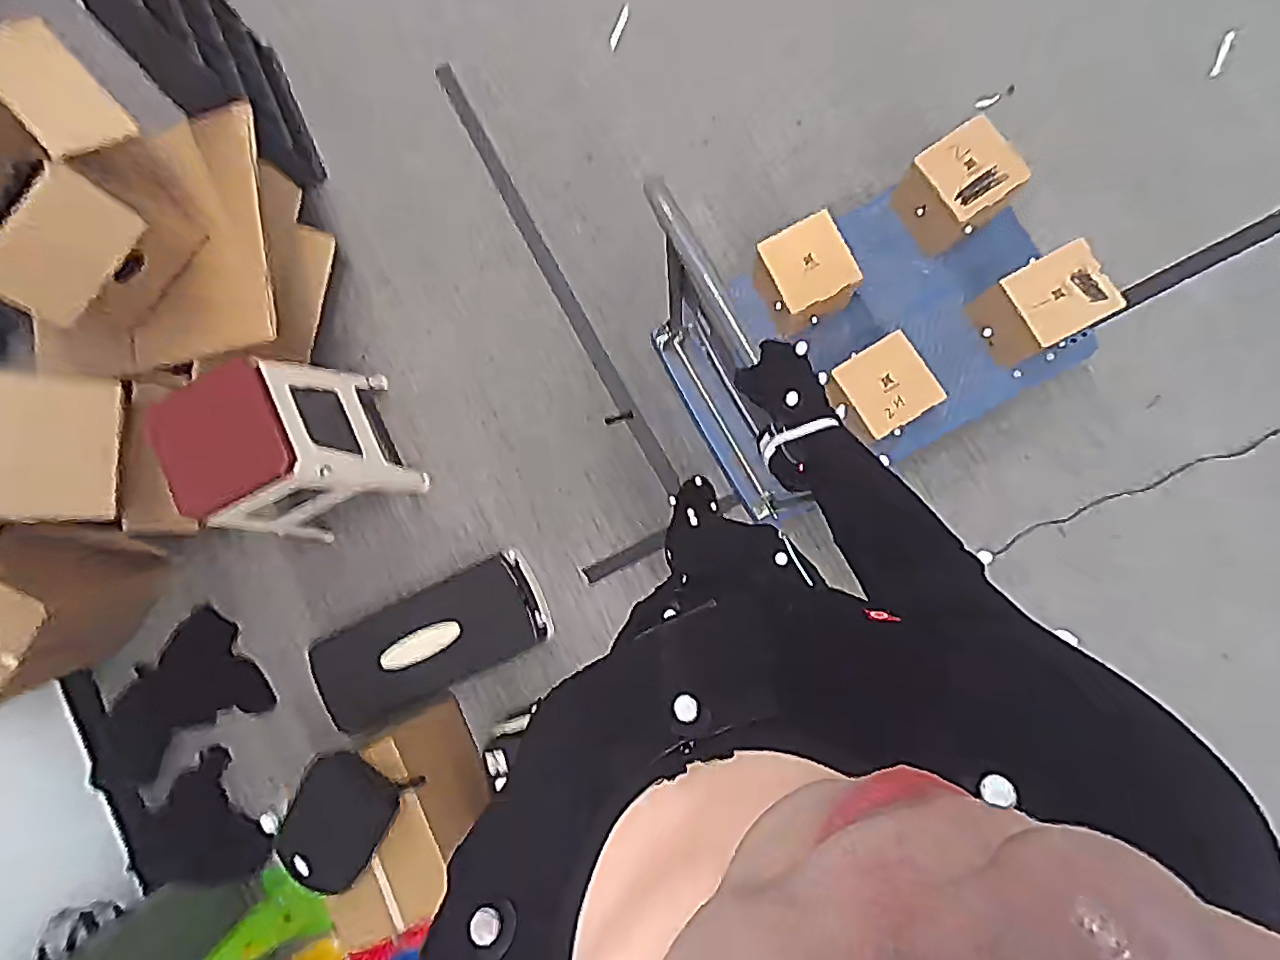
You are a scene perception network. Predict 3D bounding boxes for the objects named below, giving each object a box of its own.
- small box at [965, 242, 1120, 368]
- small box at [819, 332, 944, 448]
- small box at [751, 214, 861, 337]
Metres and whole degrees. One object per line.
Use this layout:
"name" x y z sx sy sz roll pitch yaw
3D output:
"small box" 0.850 -0.366 1.163 0.179 0.176 0.168 -29 83 6
"small box" 0.520 -0.189 1.197 0.168 0.176 0.179 -32 83 5
"small box" 0.368 -0.456 1.234 0.168 0.176 0.179 -27 85 5
